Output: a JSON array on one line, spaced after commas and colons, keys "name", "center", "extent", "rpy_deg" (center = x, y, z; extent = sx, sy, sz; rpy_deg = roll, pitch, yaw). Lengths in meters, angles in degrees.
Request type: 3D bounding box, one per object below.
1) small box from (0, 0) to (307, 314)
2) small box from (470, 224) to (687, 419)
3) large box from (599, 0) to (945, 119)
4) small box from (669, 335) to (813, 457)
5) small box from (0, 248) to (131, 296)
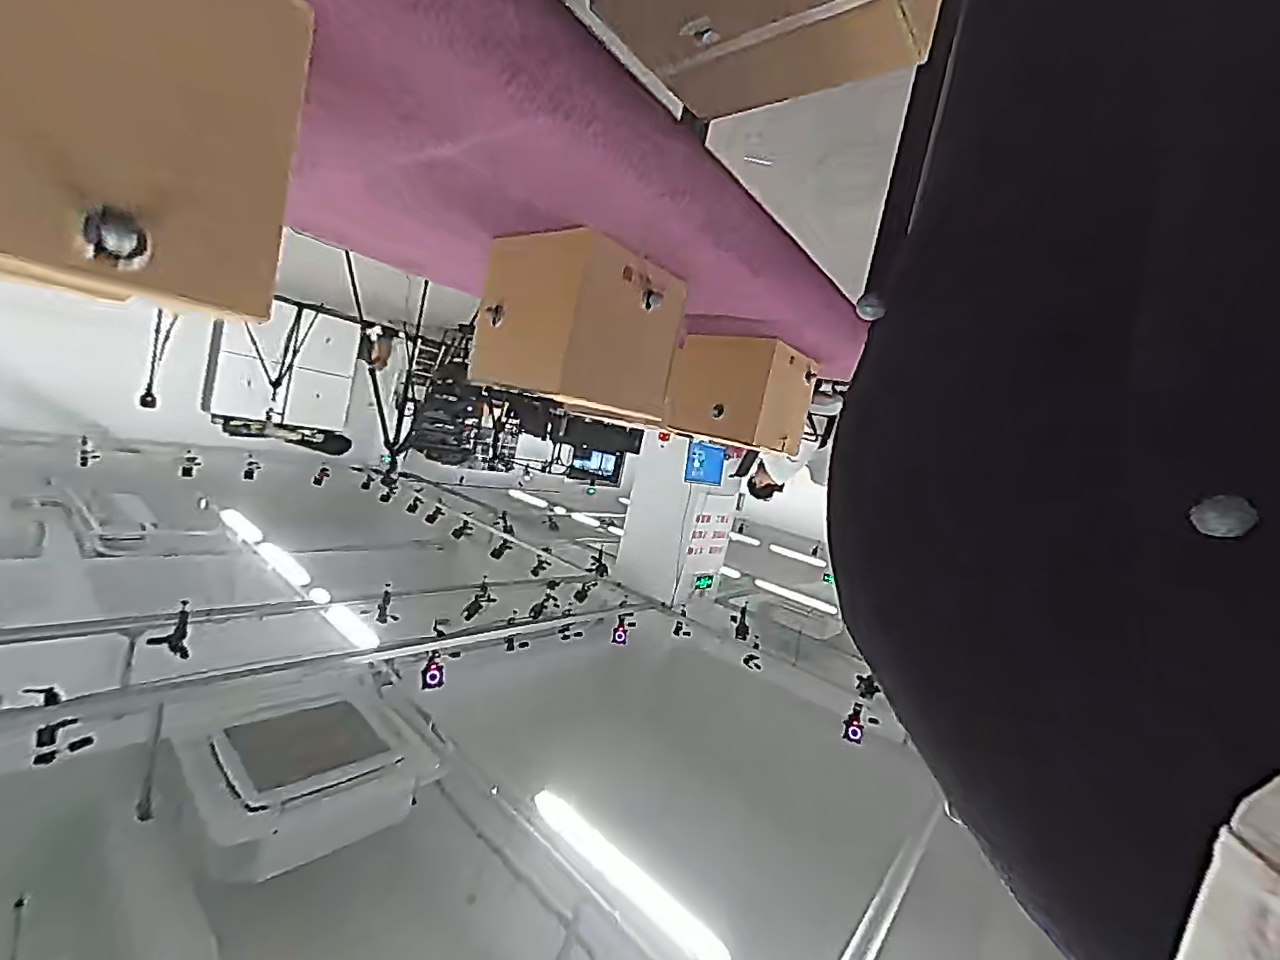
[{"name": "small box", "center": [-0.296, -0.199, 0.274], "extent": [0.179, 0.176, 0.168], "rpy_deg": [19, -171, 36]}, {"name": "small box", "center": [-0.069, -0.179, 0.634], "extent": [0.179, 0.176, 0.168], "rpy_deg": [16, -173, 40]}, {"name": "large box", "center": [0.209, -0.808, 0.781], "extent": [0.408, 0.320, 0.320], "rpy_deg": [17, -175, 41]}, {"name": "small box", "center": [0.179, -0.144, 0.926], "extent": [0.179, 0.176, 0.168], "rpy_deg": [18, -174, 40]}, {"name": "small box", "center": [-0.545, -0.266, 0.454], "extent": [0.179, 0.176, 0.168], "rpy_deg": [14, -173, 37]}]
